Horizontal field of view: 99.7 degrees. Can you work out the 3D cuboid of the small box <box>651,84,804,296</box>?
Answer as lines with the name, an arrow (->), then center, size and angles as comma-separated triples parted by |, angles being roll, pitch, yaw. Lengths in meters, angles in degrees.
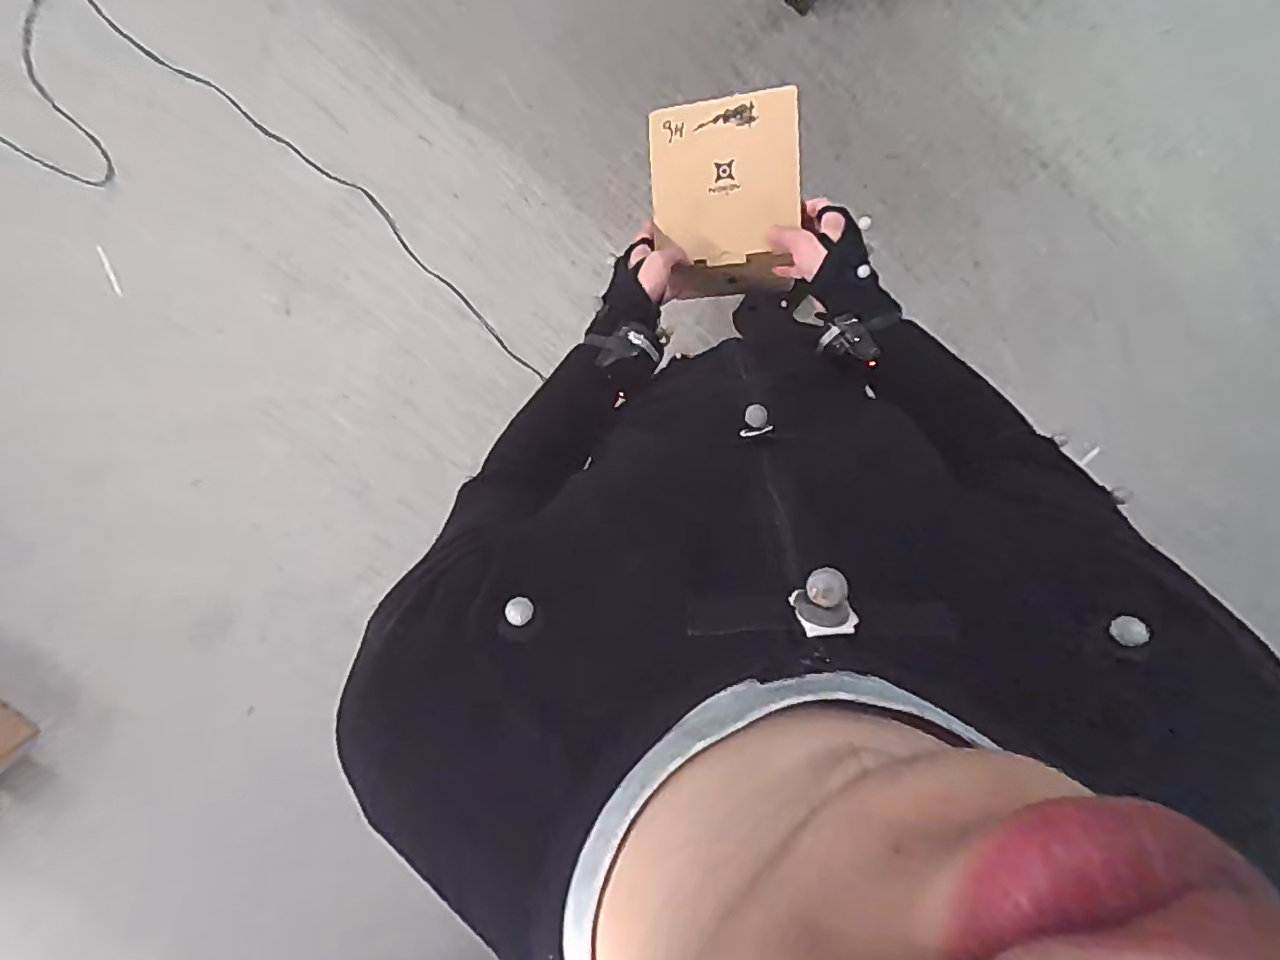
small box -> 0.112, -0.333, 0.666 | 0.168, 0.176, 0.179 | -2, 95, 13
